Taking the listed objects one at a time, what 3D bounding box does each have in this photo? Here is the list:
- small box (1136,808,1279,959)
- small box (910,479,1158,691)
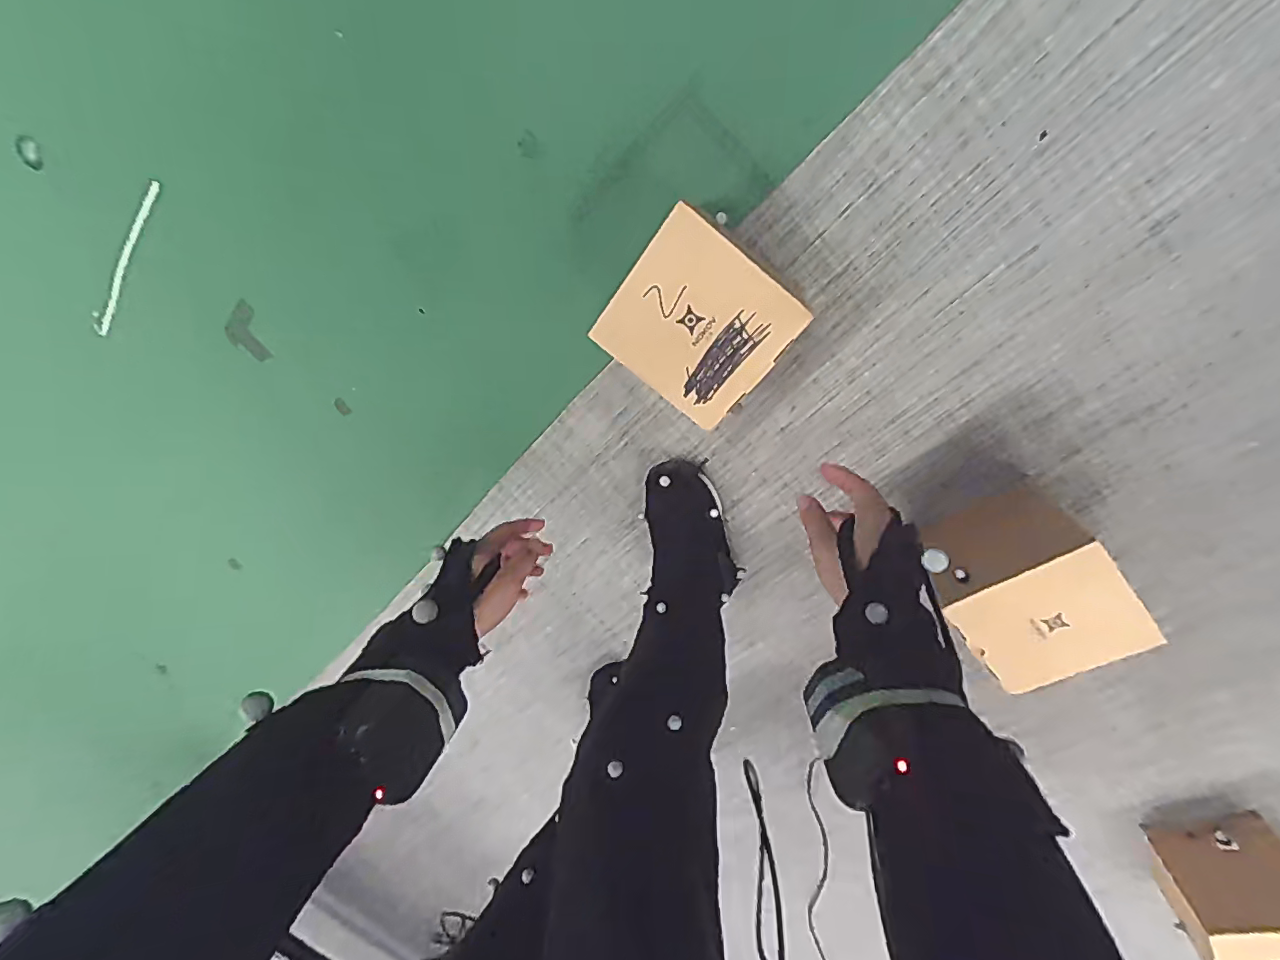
[{"bbox_3d":[0.944,0.661,0.856,0.168,0.176,0.179,-24,107,21],"label":"small box"},{"bbox_3d":[0.487,0.128,0.698,0.179,0.176,0.168,-37,103,26],"label":"small box"}]
